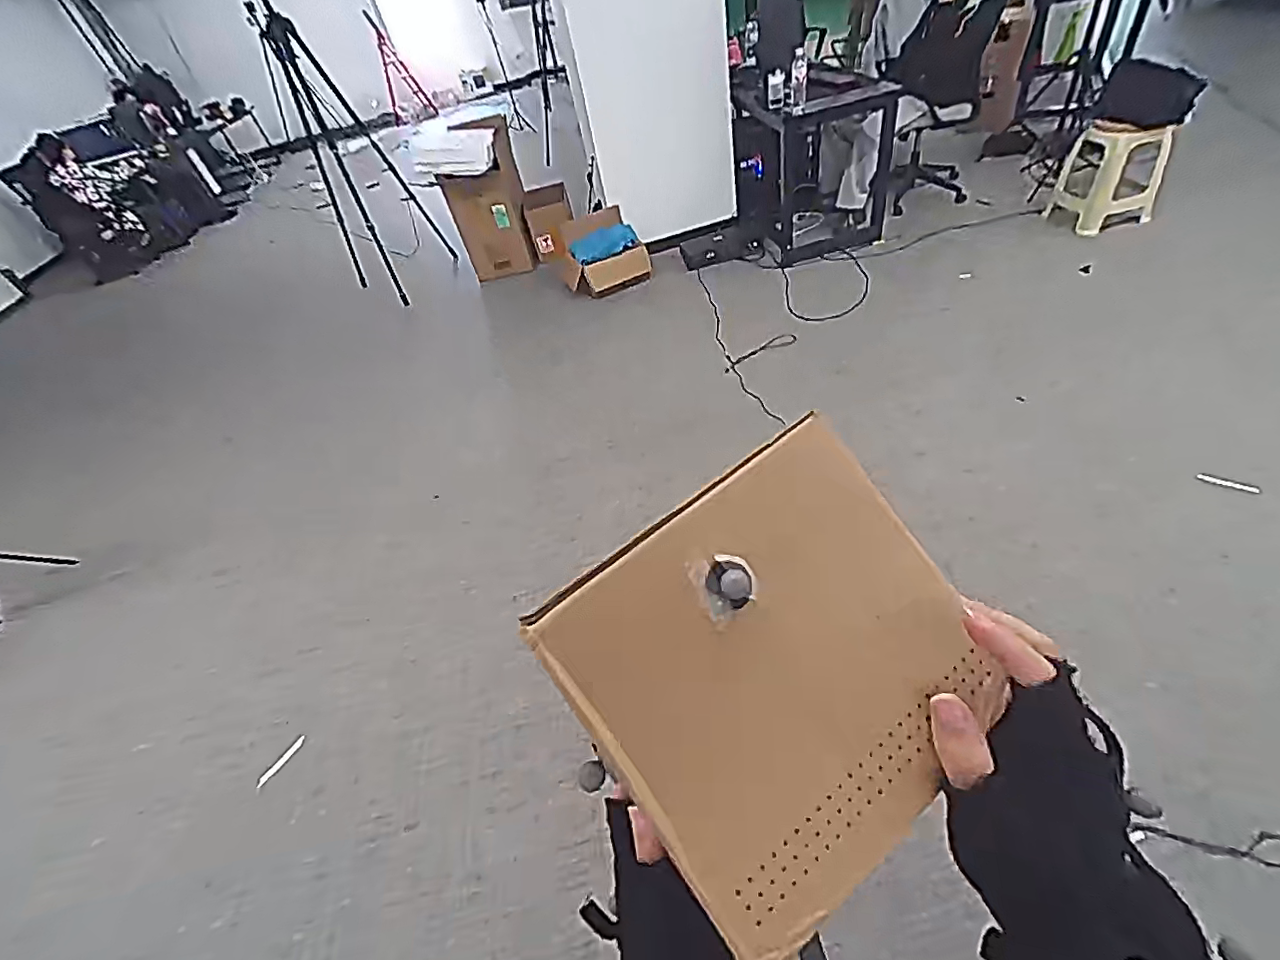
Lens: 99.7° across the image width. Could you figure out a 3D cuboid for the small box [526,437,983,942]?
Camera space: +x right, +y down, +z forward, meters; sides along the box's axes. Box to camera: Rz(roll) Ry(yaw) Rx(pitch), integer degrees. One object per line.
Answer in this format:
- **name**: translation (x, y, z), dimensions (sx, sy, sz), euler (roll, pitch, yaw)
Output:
- **small box**: translation (0.053, 0.108, 0.327), dimensions (0.179, 0.168, 0.176), euler (-35, 84, -16)
